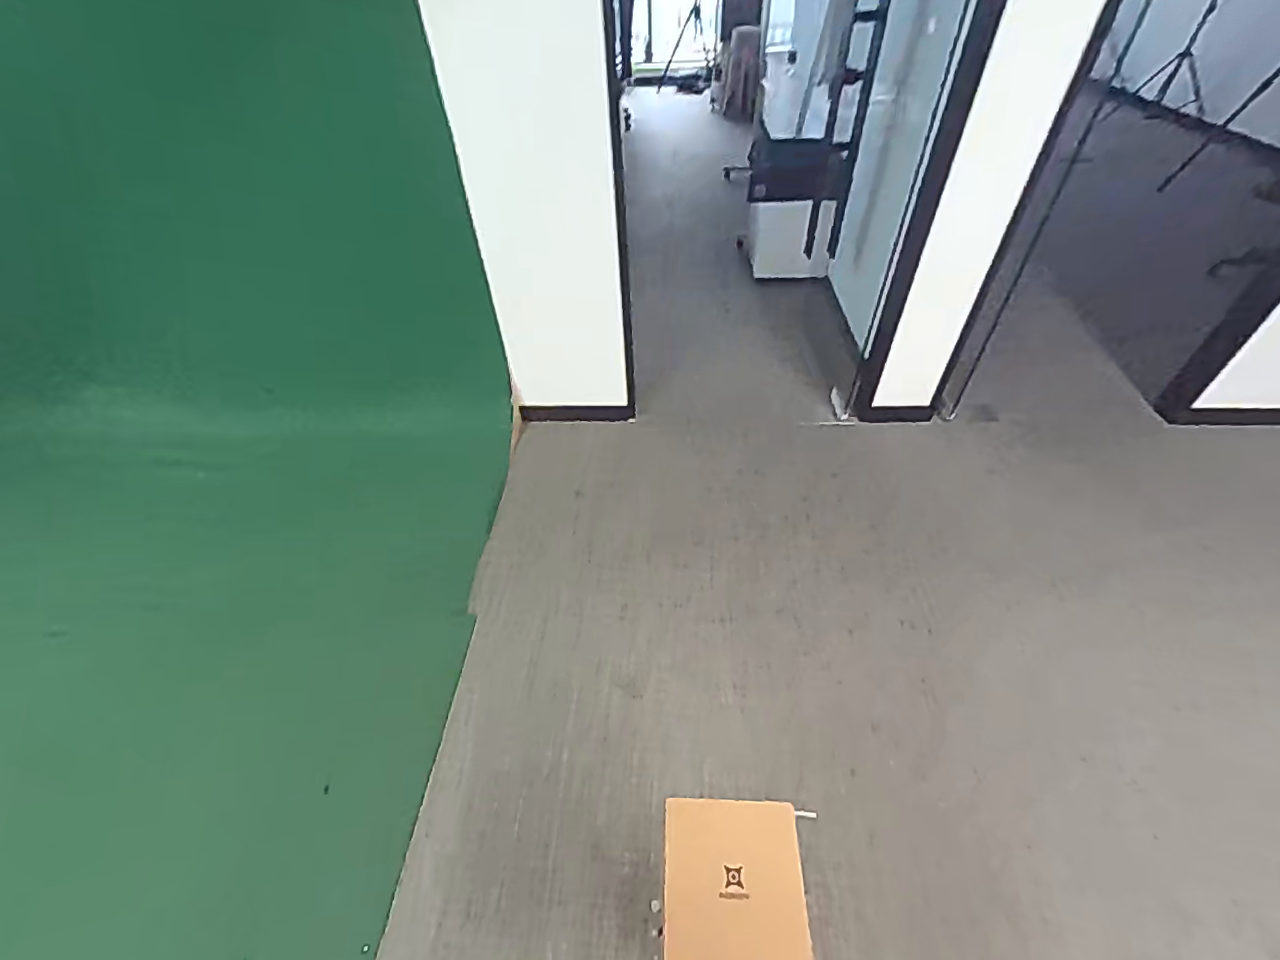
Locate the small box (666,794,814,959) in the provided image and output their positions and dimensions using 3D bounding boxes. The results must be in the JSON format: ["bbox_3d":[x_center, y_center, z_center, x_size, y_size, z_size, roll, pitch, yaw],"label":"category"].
[{"bbox_3d":[0.118,0.533,0.706,0.168,0.176,0.179,0,47,4],"label":"small box"}]
